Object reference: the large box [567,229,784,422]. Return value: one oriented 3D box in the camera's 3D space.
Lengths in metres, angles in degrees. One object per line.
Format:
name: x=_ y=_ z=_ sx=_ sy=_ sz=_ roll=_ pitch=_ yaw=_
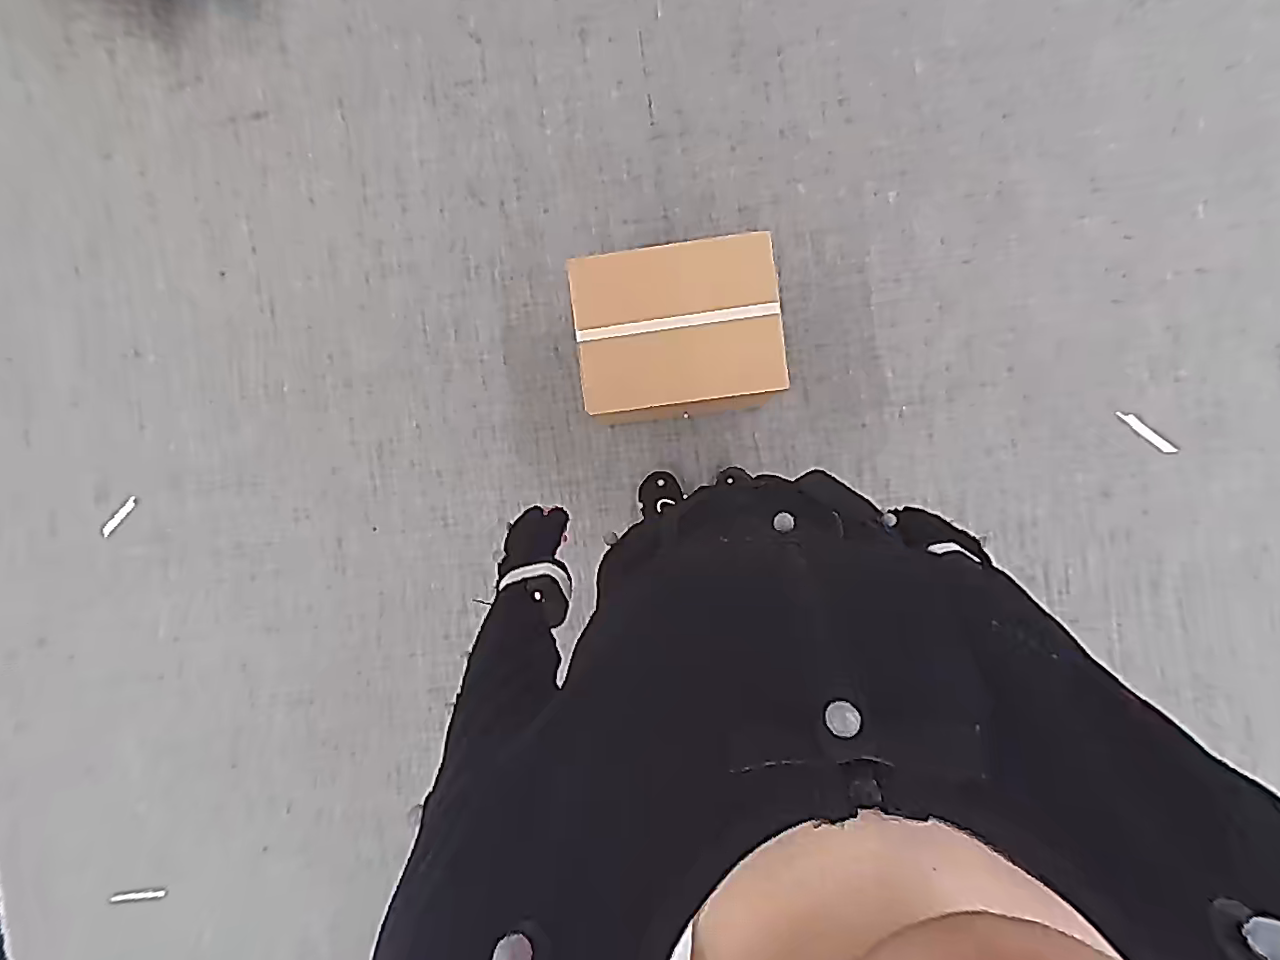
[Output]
large box: x=0.074 y=-0.319 z=1.219 sx=0.408 sy=0.320 sz=0.320 roll=-7 pitch=92 yaw=3
